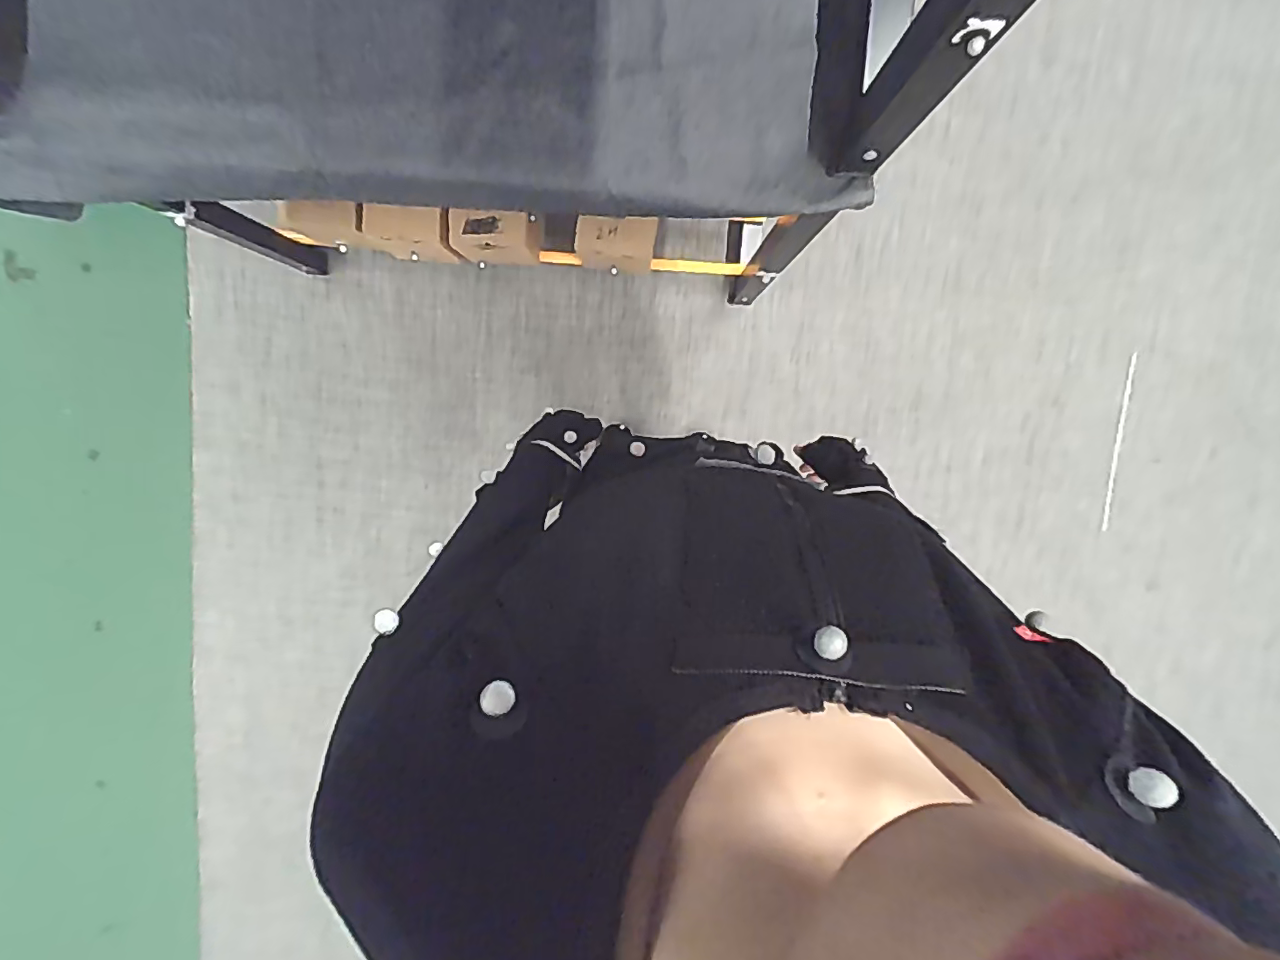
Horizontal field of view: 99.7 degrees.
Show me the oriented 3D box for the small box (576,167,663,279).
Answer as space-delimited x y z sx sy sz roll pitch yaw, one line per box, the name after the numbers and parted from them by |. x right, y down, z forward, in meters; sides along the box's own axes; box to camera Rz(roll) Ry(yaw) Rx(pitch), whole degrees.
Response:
-0.044 -0.580 1.238 0.168 0.176 0.179 9 99 0 | small box
